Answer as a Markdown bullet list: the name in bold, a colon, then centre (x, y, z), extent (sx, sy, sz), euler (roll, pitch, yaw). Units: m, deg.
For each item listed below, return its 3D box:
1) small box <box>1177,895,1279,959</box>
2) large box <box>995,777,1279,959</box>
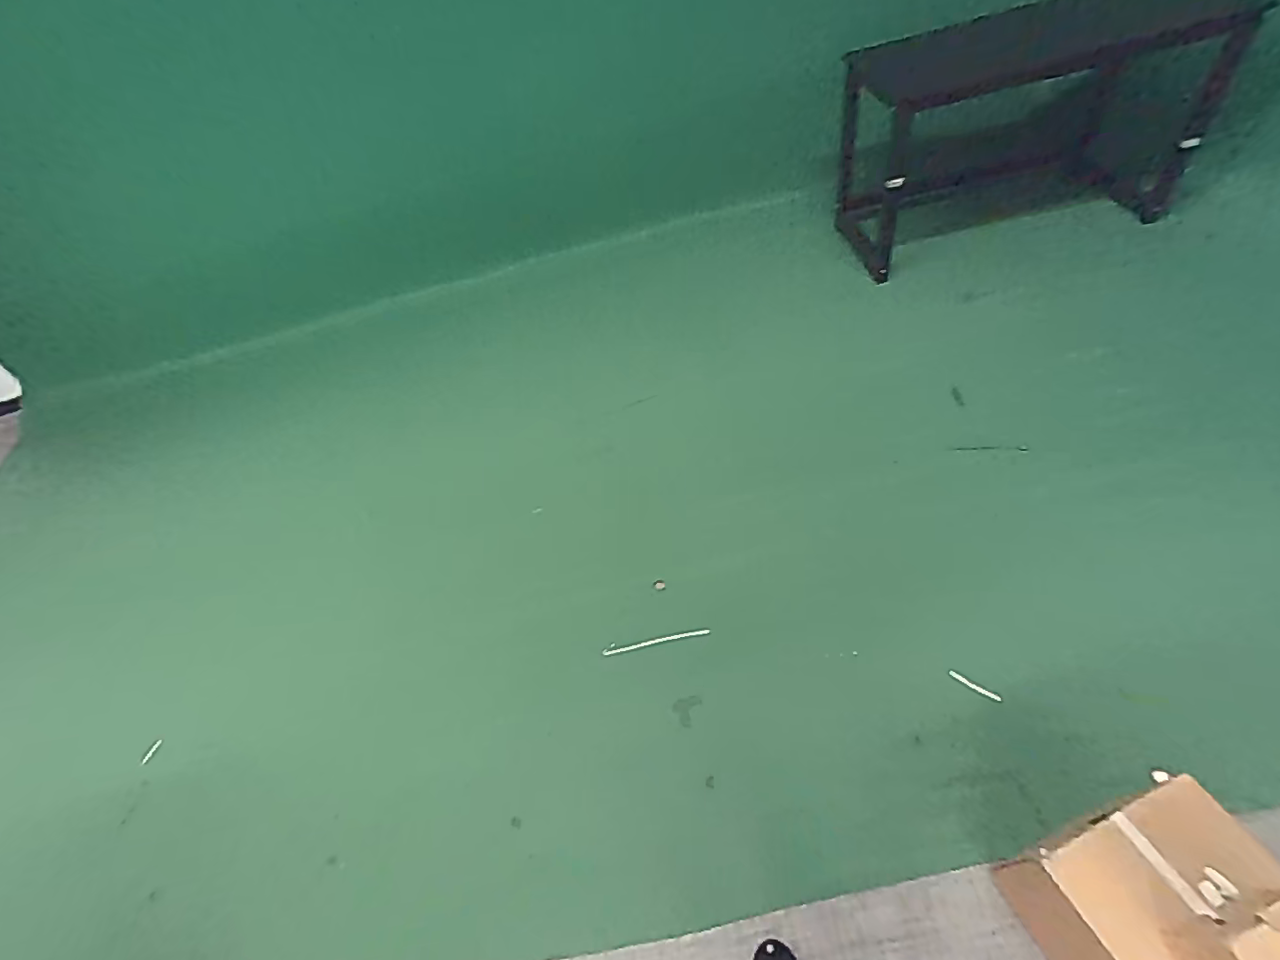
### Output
- **small box**: centre (0.868, 0.659, 0.691), extent (0.168, 0.176, 0.179), euler (-24, 50, -2)
- **large box**: centre (0.909, 0.794, 0.895), extent (0.320, 0.320, 0.408), euler (-25, 48, -7)
